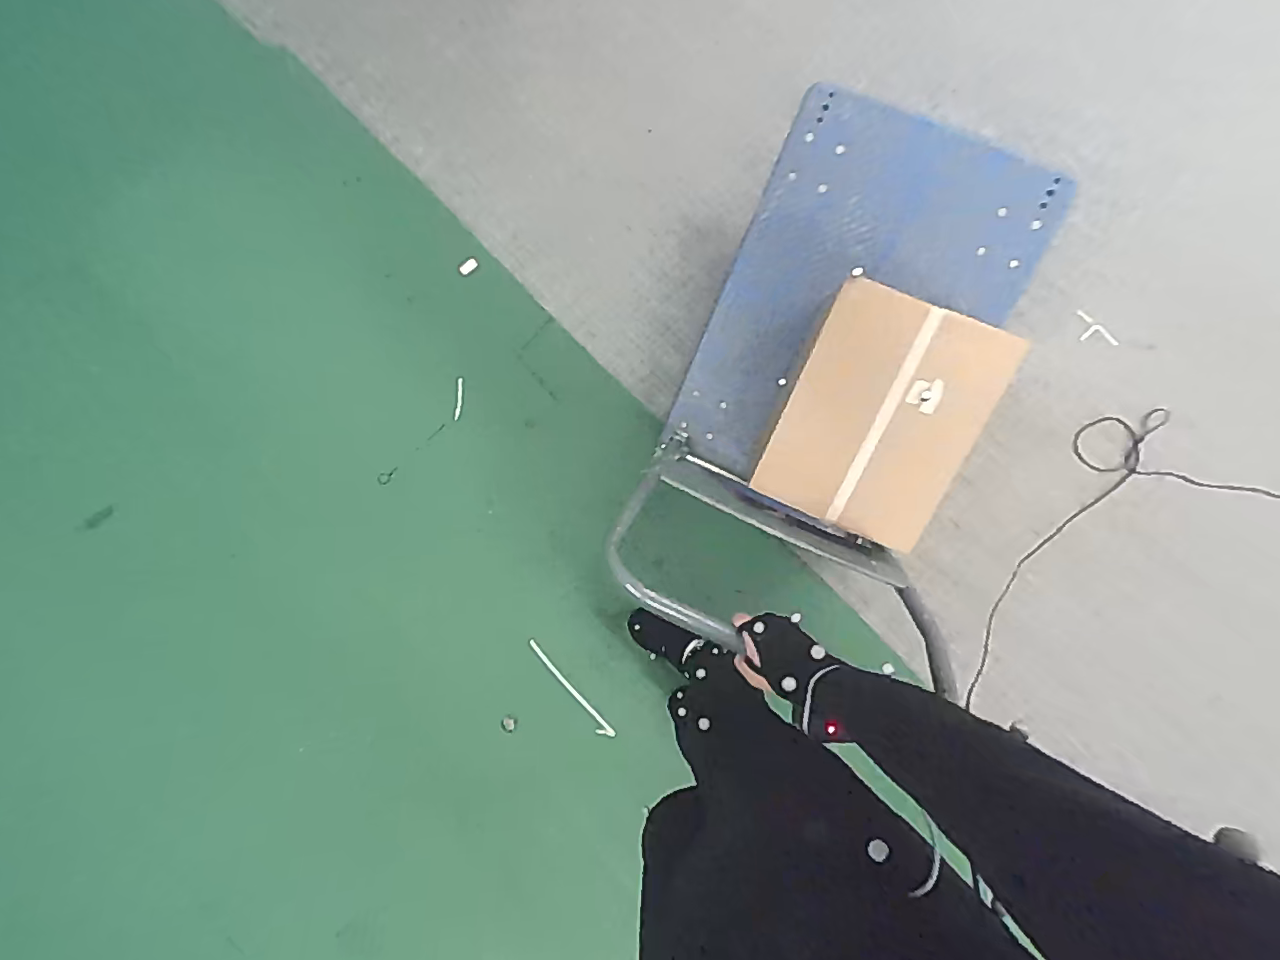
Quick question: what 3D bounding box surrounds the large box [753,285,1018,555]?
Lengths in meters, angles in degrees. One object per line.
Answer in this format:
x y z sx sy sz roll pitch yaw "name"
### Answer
0.446 -0.121 1.094 0.320 0.320 0.408 23 104 5 "large box"
